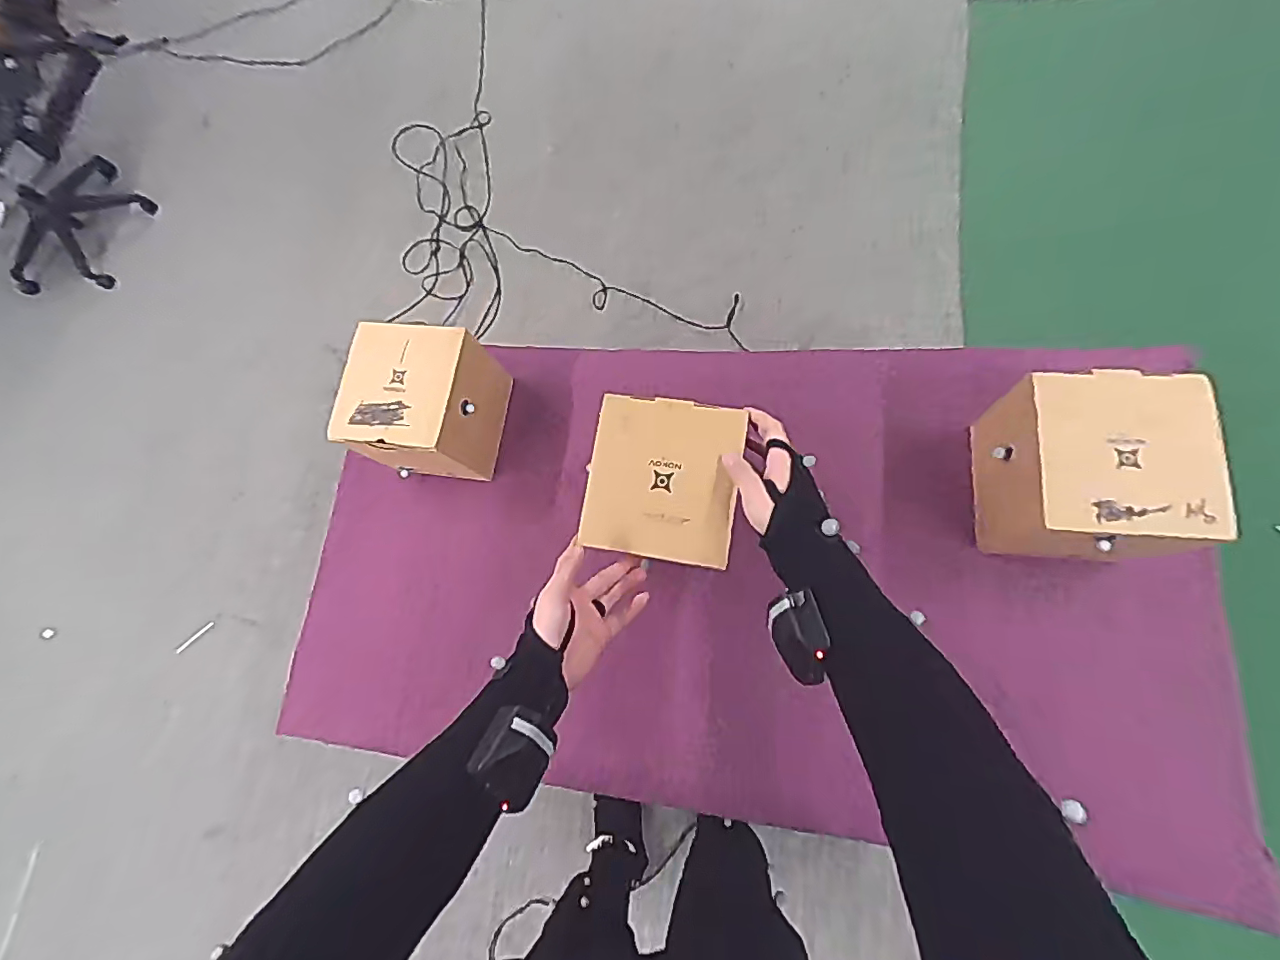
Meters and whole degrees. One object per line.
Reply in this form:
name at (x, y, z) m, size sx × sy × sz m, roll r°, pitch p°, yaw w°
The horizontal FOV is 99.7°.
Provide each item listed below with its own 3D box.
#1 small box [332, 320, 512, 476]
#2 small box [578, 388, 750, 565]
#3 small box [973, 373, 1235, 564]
small box at (-0.307, -0.112, 0.799) m, size 0.168 × 0.176 × 0.179 m, roll 7°, pitch 77°, yaw 11°
small box at (0.037, 0.004, 0.668) m, size 0.168 × 0.176 × 0.179 m, roll 9°, pitch 83°, yaw 10°
small box at (0.508, -0.006, 0.626) m, size 0.168 × 0.176 × 0.179 m, roll 3°, pitch 75°, yaw 12°
